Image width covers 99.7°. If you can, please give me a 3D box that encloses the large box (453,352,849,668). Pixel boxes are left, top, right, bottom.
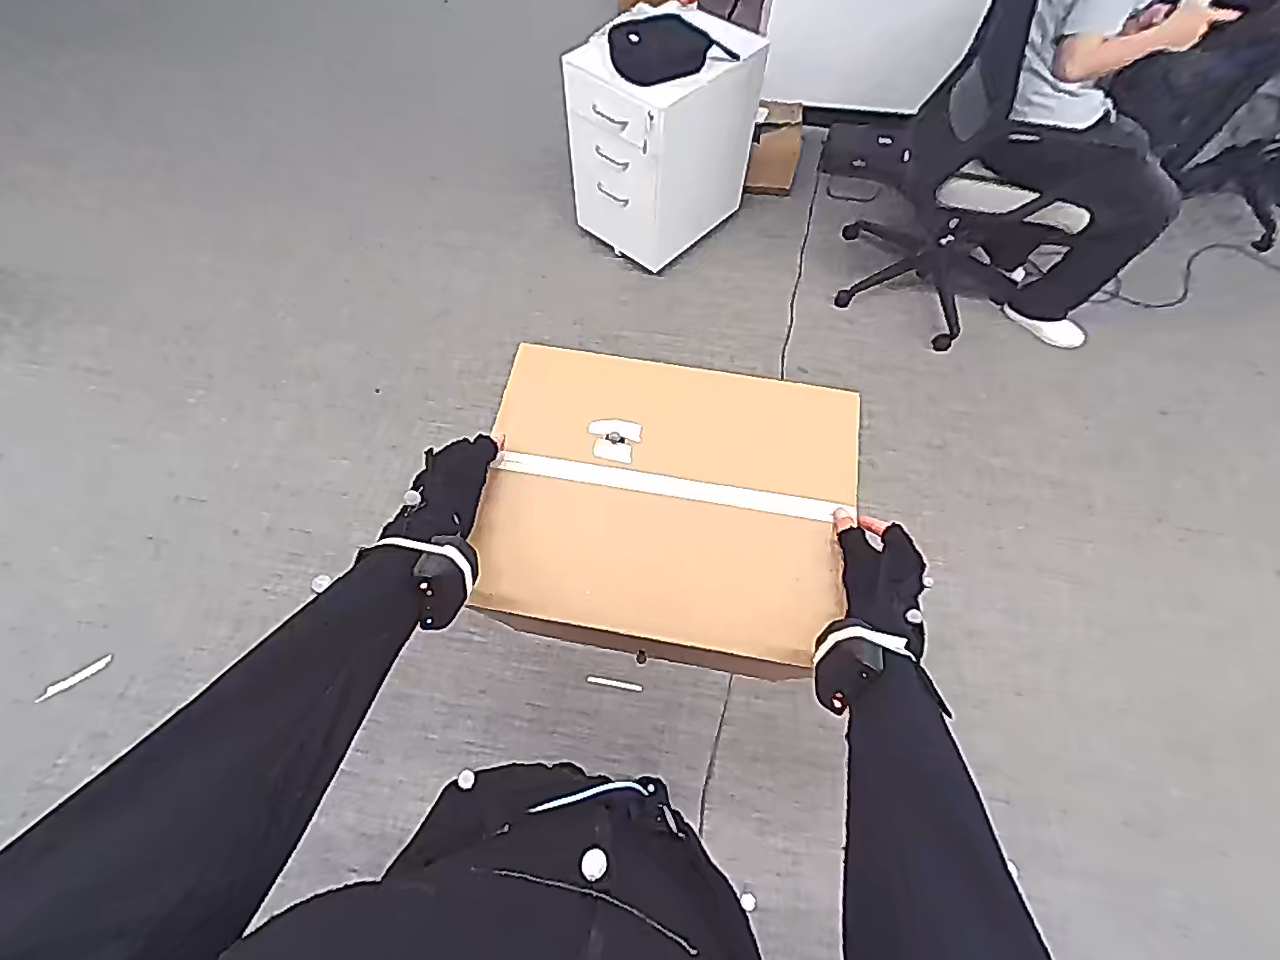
[{"bbox_3d":[0.031,0.063,0.734,0.408,0.320,0.320,9,69,5],"label":"large box"}]
